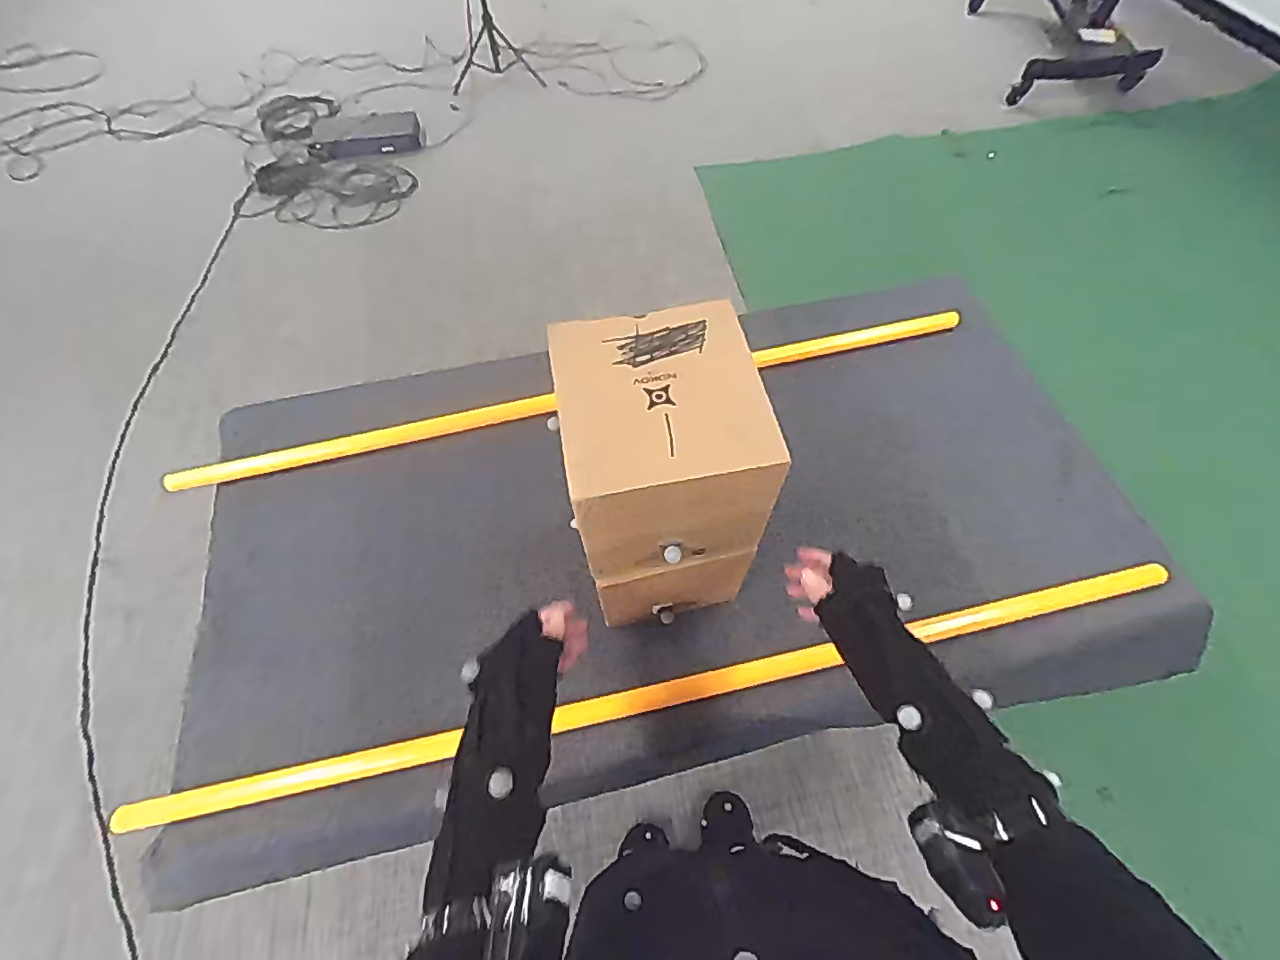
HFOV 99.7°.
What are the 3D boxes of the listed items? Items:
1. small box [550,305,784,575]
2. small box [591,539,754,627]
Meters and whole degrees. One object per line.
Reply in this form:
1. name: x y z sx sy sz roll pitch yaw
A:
1. small box: 0.015 -0.031 0.505 0.168 0.176 0.179 -10 61 -3
2. small box: 0.019 0.055 0.646 0.168 0.176 0.179 -13 62 -5
